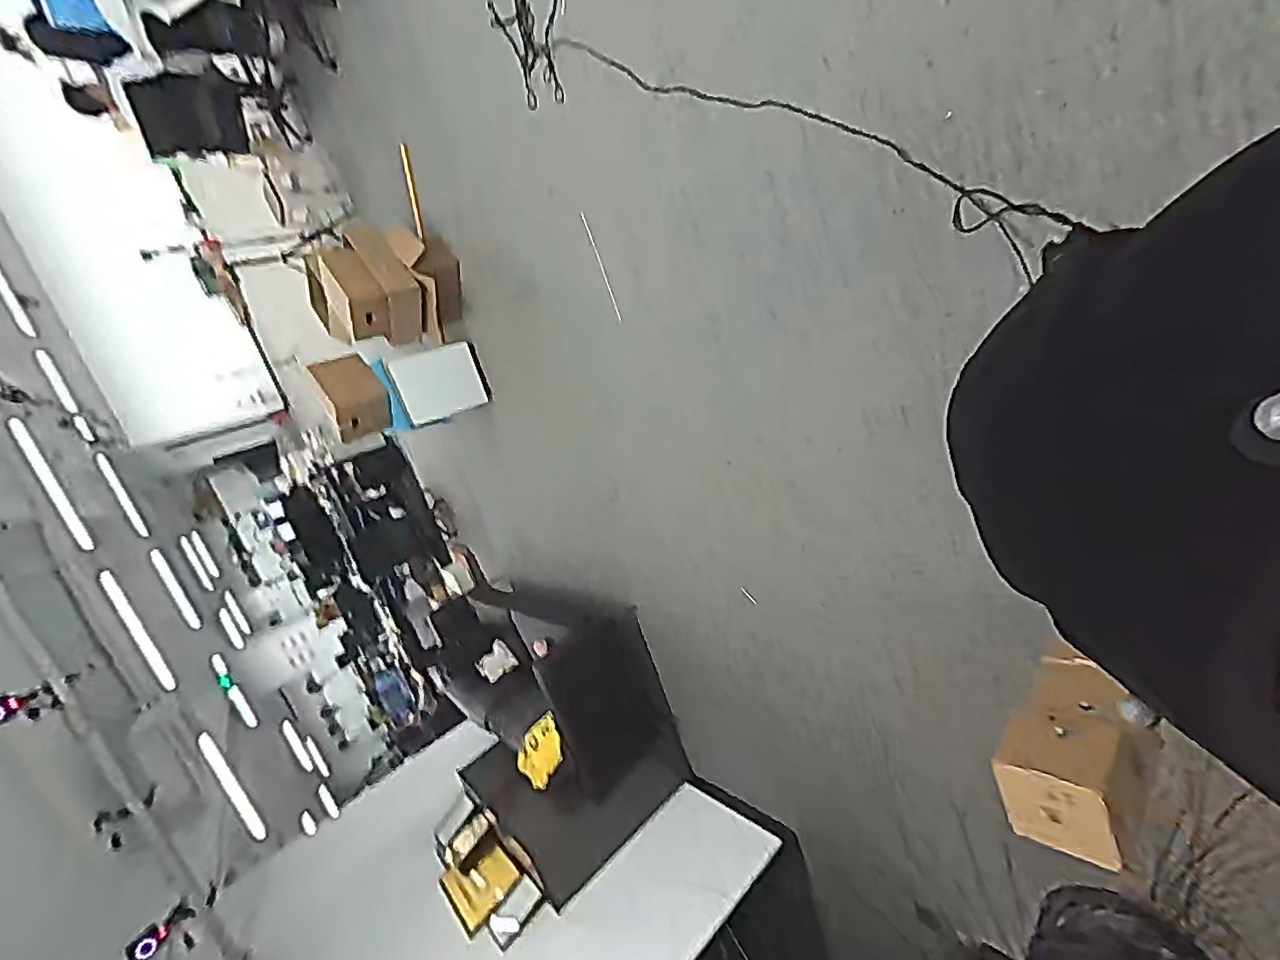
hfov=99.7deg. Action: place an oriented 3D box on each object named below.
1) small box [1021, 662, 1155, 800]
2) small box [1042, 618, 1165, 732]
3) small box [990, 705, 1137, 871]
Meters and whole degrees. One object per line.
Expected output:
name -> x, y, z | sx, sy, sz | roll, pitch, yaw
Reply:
small box -> 0.919, 0.499, 1.106 | 0.179, 0.176, 0.168 | -6, 108, 54
small box -> 1.032, 0.430, 1.204 | 0.168, 0.176, 0.179 | -7, 107, 54
small box -> 0.797, 0.563, 1.015 | 0.168, 0.176, 0.179 | -8, 106, 54
